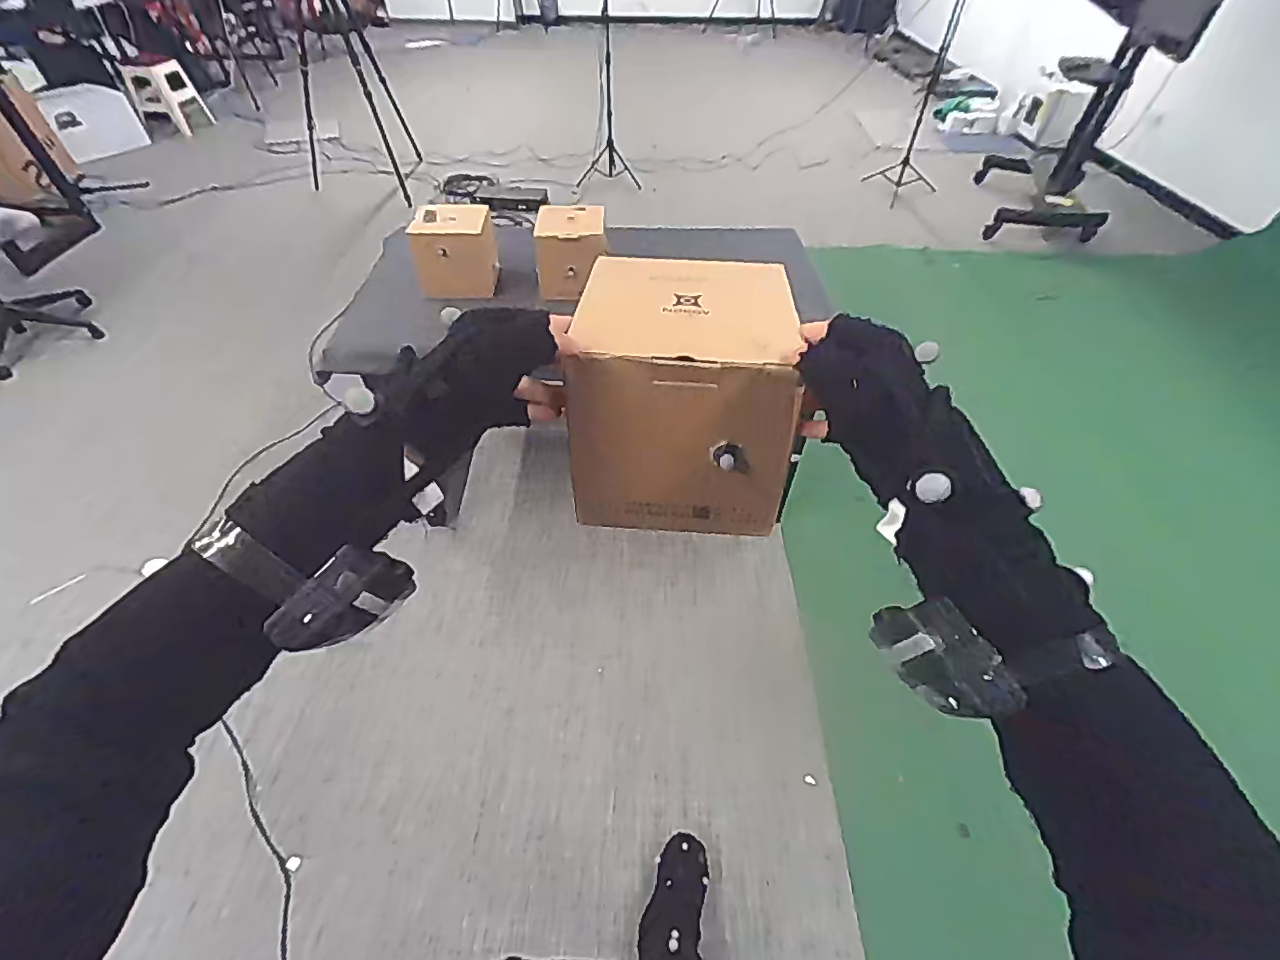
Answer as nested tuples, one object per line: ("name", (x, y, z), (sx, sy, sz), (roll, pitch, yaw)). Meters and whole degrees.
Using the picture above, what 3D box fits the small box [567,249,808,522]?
("small box", (0.037, -0.083, 0.474), (0.168, 0.176, 0.179), (6, 41, 3))

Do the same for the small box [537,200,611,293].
("small box", (-0.160, -0.590, 1.372), (0.168, 0.176, 0.179), (0, 49, -1))

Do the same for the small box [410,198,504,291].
("small box", (-0.453, -0.593, 1.367), (0.179, 0.176, 0.168), (-1, 49, -3))
